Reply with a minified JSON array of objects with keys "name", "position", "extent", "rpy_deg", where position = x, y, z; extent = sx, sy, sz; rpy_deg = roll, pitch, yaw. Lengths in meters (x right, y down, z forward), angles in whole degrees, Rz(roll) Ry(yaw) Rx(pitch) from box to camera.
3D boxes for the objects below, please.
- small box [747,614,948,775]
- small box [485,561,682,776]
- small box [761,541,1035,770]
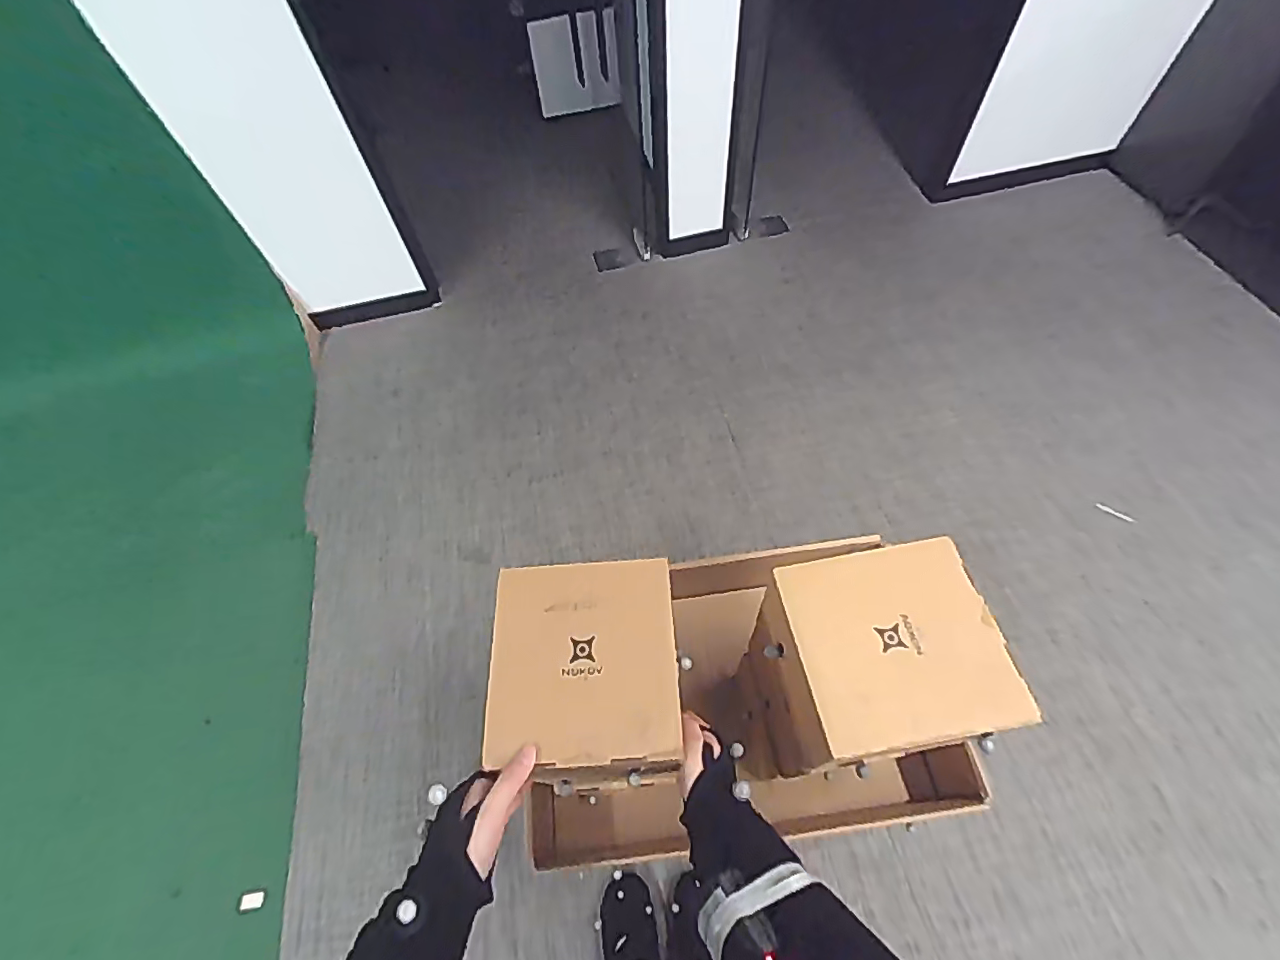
[{"name":"small box","position":[0.242,0.262,0.683],"extent":[0.168,0.176,0.179],"rpy_deg":[-10,60,-2]},{"name":"small box","position":[-0.044,0.197,0.547],"extent":[0.168,0.176,0.179],"rpy_deg":[-3,58,0]},{"name":"small box","position":[0.228,0.182,0.541],"extent":[0.179,0.176,0.168],"rpy_deg":[-10,59,-2]}]
